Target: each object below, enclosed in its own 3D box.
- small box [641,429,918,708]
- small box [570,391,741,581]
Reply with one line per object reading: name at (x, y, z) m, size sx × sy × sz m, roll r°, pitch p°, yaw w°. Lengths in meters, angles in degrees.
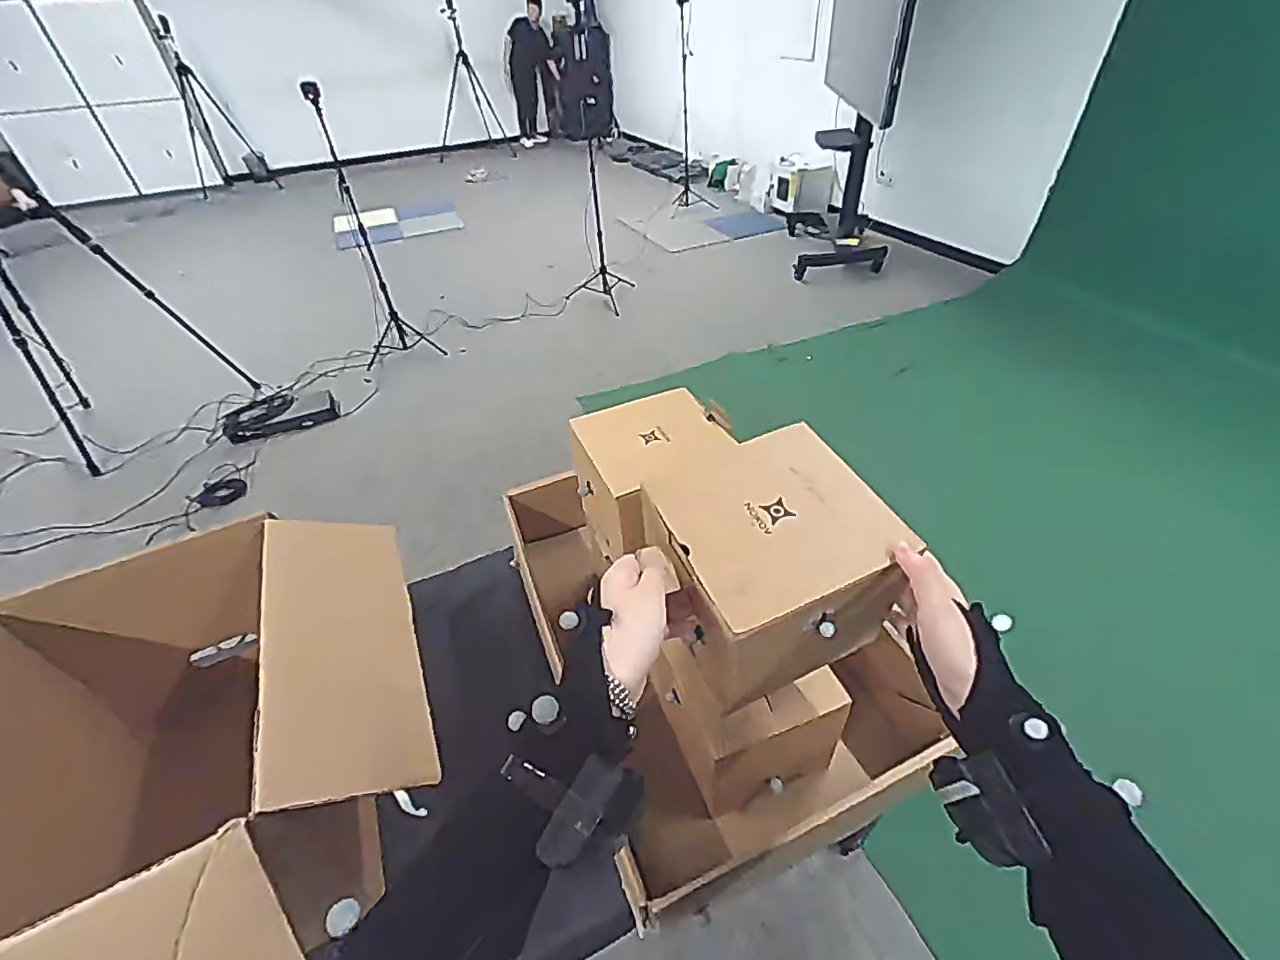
small box at (0.115, 0.086, 0.513) m, size 0.179 × 0.176 × 0.168 m, roll -20°, pitch 51°, yaw -14°
small box at (0.022, 0.009, 0.733) m, size 0.179 × 0.176 × 0.168 m, roll -18°, pitch 45°, yaw -16°
